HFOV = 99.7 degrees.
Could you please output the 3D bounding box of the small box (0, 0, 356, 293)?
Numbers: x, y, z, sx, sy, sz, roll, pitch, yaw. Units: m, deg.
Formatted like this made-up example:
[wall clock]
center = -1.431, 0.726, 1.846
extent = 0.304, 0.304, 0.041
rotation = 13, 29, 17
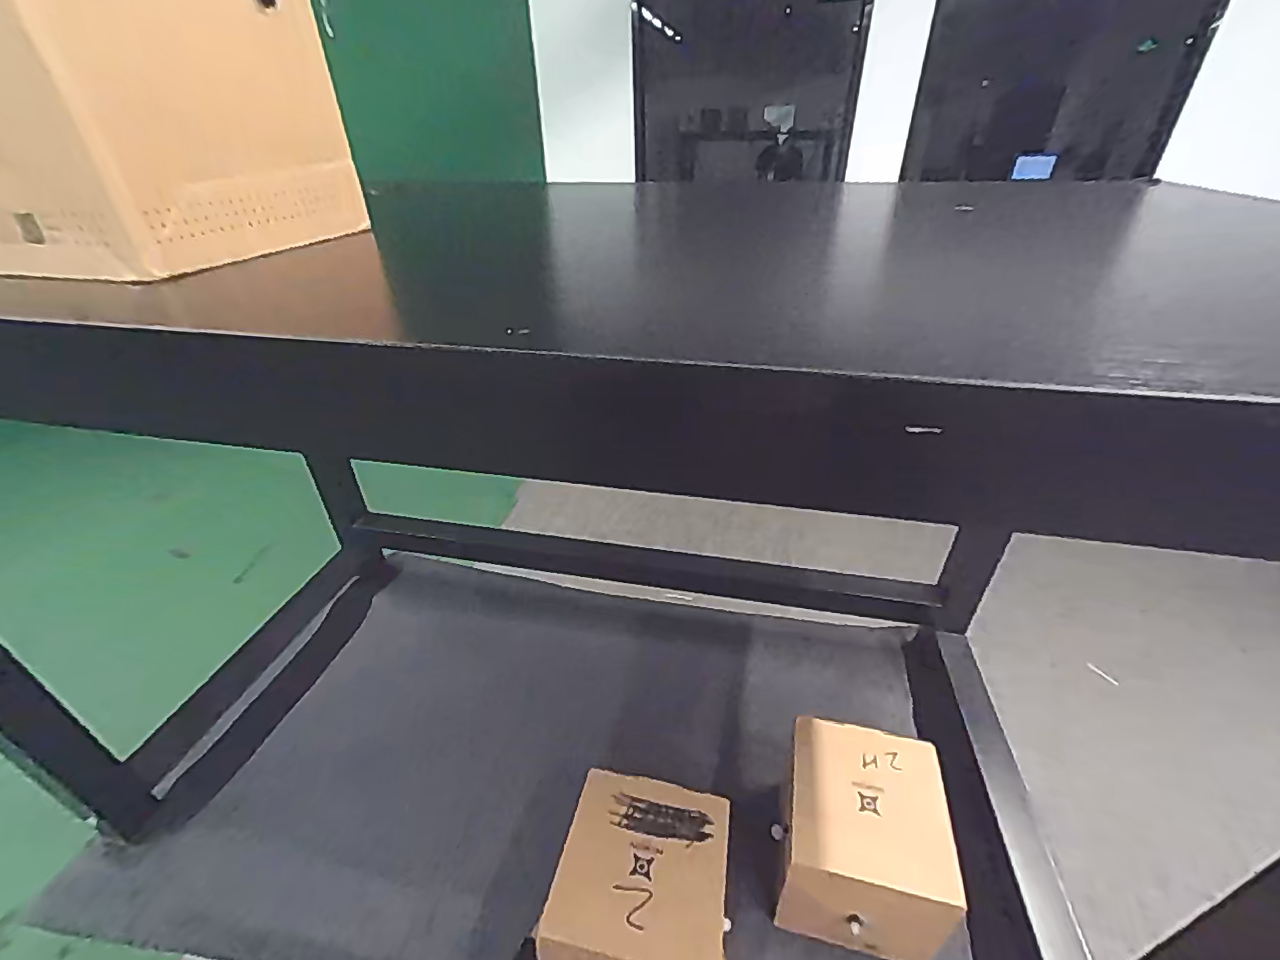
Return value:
[small box]
center = -0.304, -0.214, 0.314
extent = 0.168, 0.176, 0.179
rotation = 6, 33, 12
